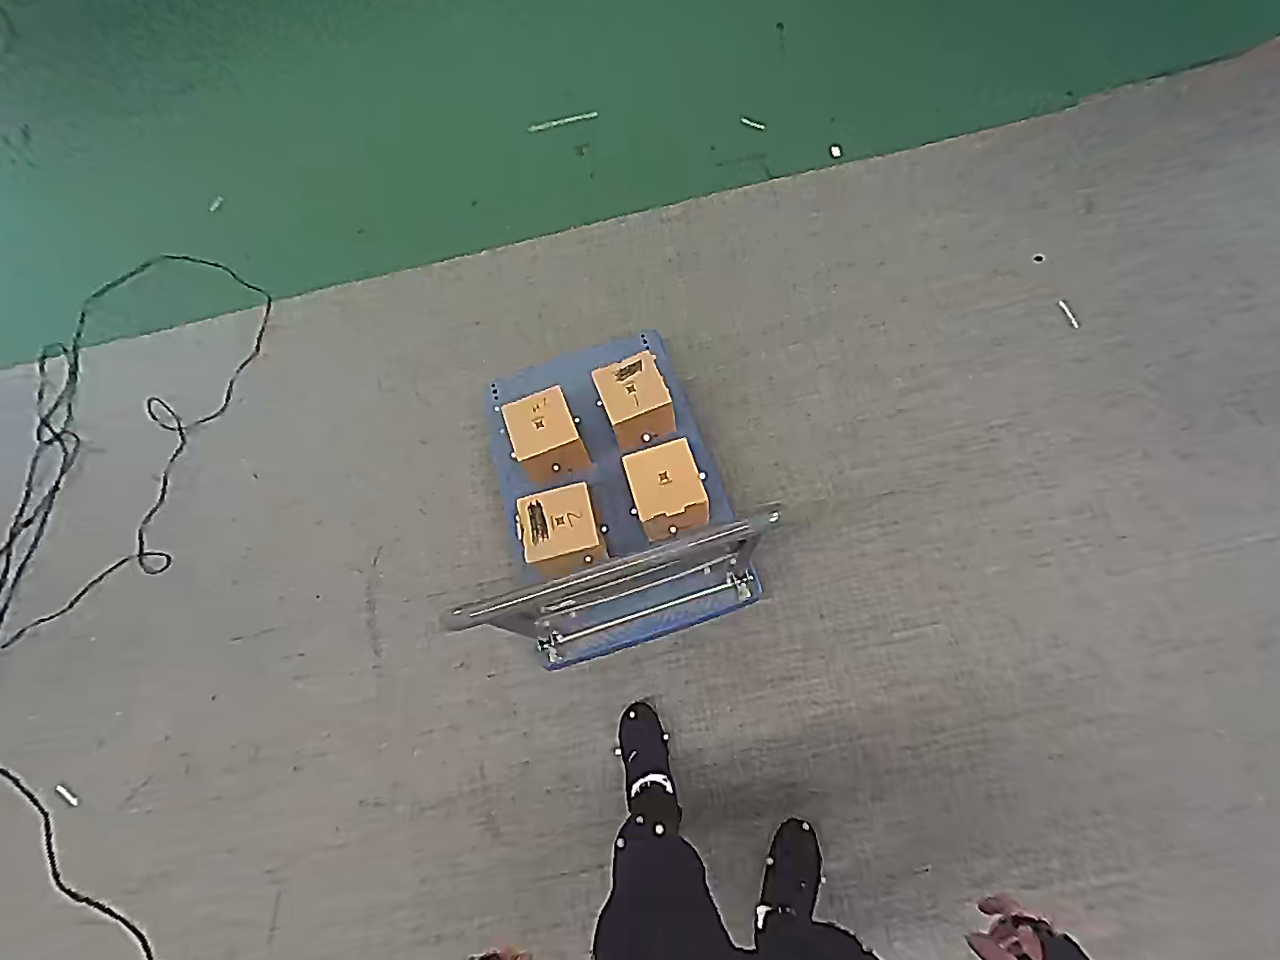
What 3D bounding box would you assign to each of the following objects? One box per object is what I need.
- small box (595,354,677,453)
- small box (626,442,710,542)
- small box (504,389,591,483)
[{"bbox_3d":[-0.008,-0.201,1.457,0.168,0.176,0.179,-21,67,-1],"label":"small box"},{"bbox_3d":[0.070,0.035,1.349,0.168,0.176,0.179,-17,66,-1],"label":"small box"},{"bbox_3d":[-0.242,-0.108,1.447,0.168,0.176,0.179,-21,66,-3],"label":"small box"}]
